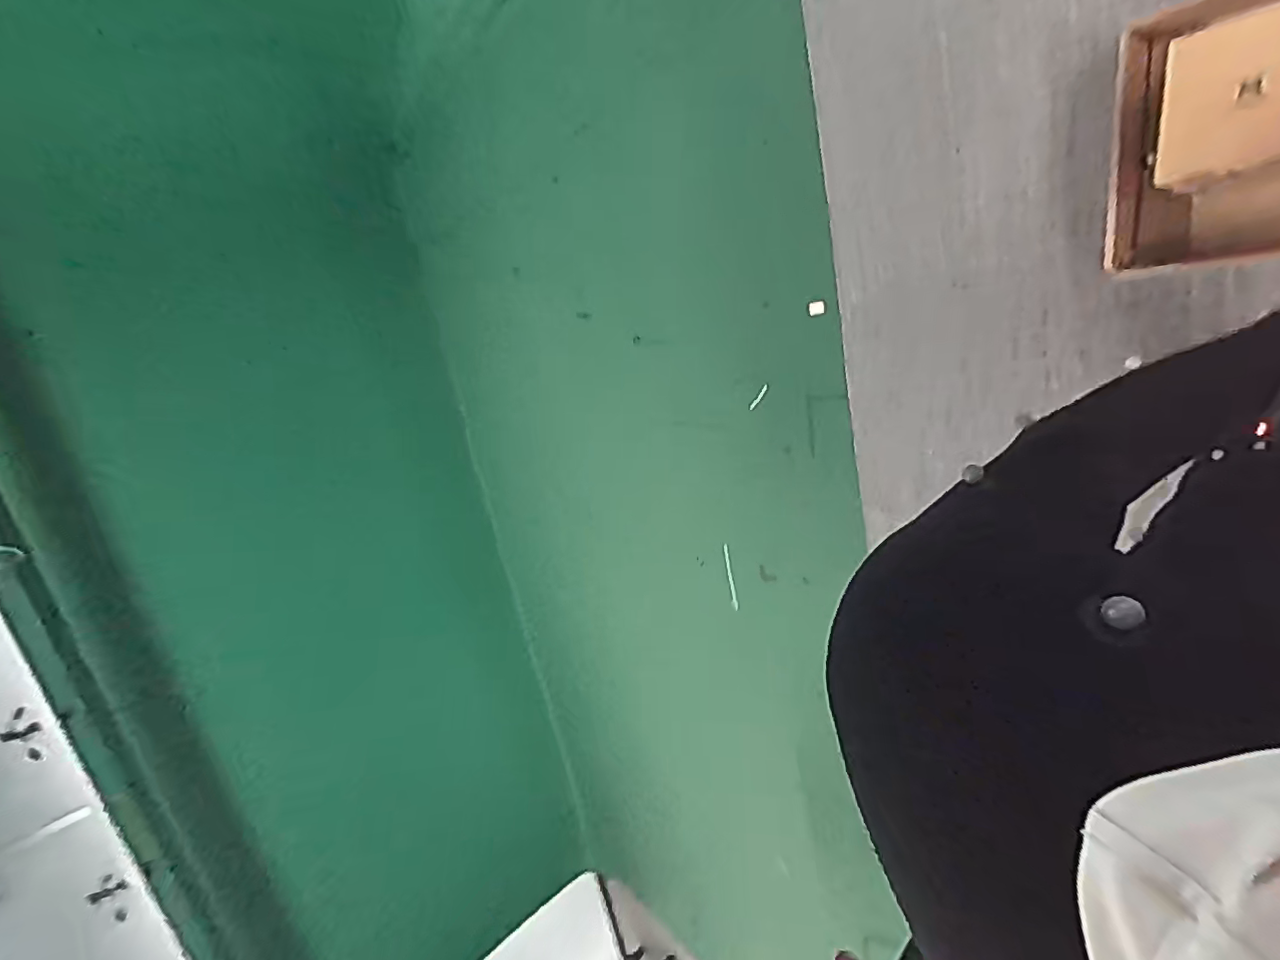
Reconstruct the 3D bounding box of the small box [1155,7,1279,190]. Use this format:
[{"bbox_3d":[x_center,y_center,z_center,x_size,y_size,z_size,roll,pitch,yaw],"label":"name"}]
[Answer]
[{"bbox_3d":[0.832,-0.512,0.733,0.168,0.176,0.179,10,114,49],"label":"small box"}]
